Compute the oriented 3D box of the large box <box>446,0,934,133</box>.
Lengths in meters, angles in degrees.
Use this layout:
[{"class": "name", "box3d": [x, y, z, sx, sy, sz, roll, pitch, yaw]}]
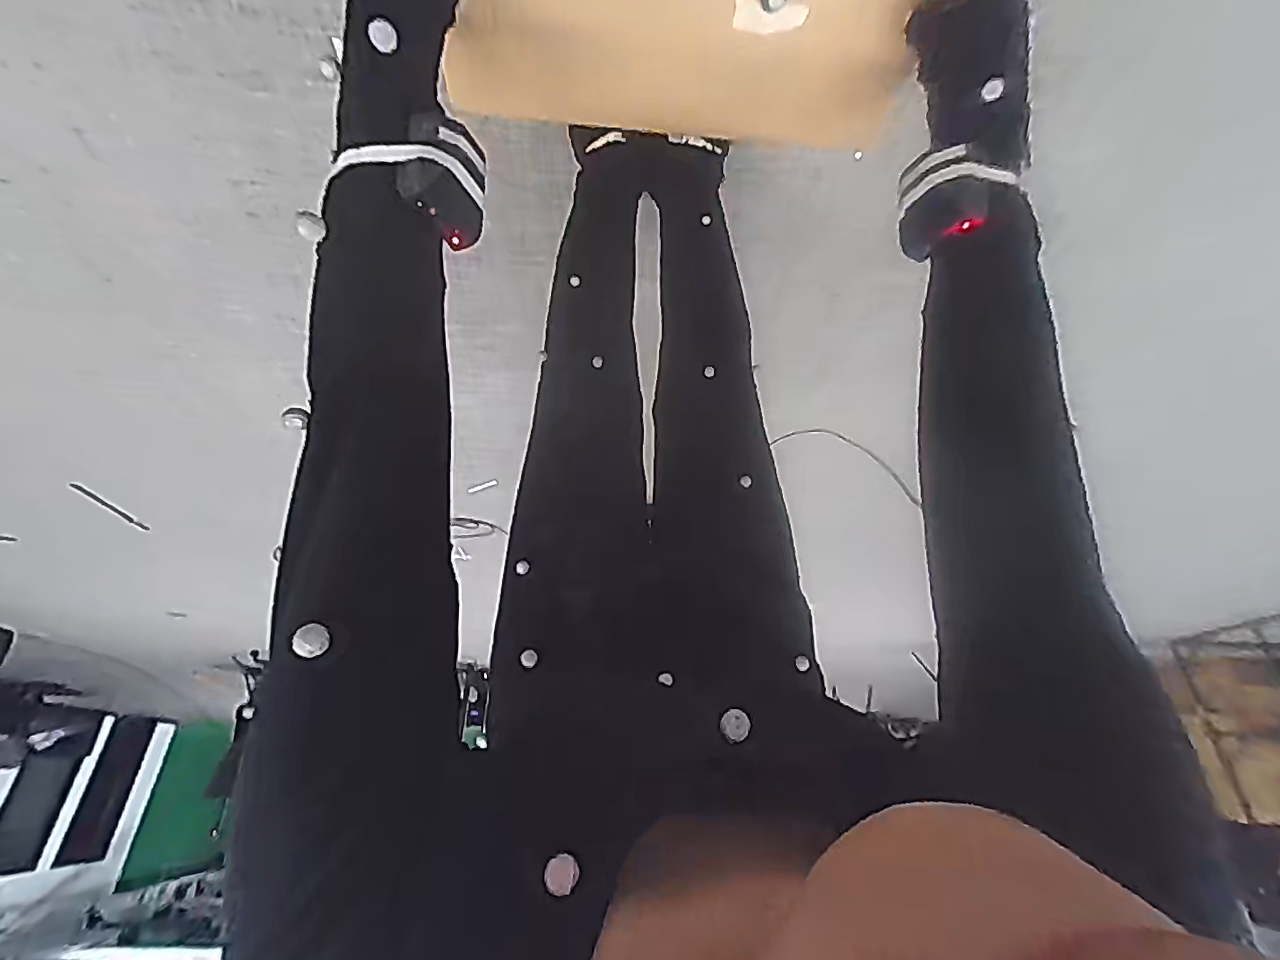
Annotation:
[{"class": "large box", "box3d": [0.042, -0.547, 0.460, 0.408, 0.320, 0.320, 2, 149, -5]}]
